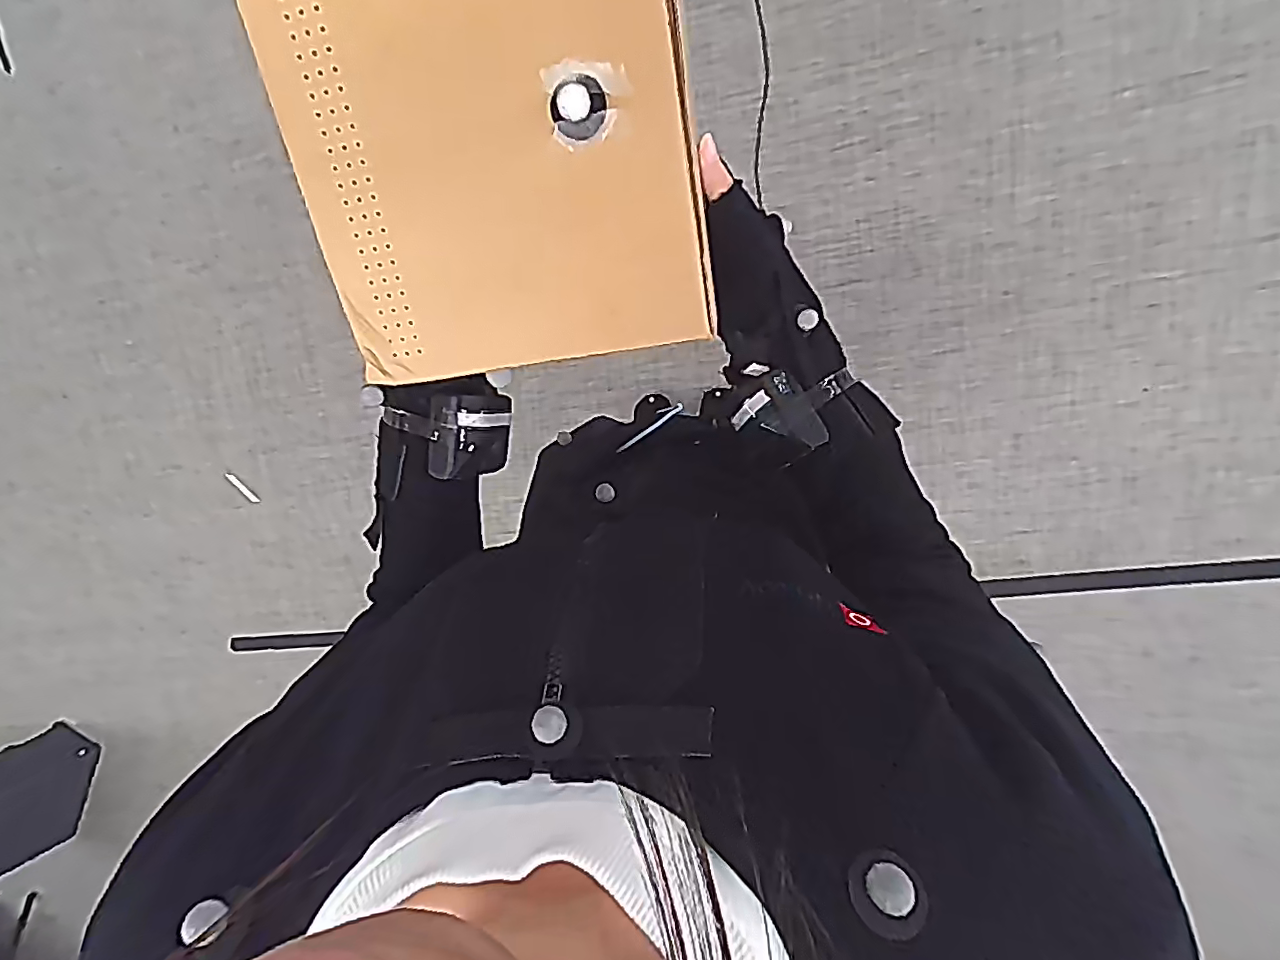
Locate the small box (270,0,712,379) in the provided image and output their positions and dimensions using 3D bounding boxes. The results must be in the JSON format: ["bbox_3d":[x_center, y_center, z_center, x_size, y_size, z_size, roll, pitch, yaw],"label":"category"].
[{"bbox_3d":[-0.055,-0.166,0.299,0.176,0.168,0.179,-6,111,11],"label":"small box"}]
